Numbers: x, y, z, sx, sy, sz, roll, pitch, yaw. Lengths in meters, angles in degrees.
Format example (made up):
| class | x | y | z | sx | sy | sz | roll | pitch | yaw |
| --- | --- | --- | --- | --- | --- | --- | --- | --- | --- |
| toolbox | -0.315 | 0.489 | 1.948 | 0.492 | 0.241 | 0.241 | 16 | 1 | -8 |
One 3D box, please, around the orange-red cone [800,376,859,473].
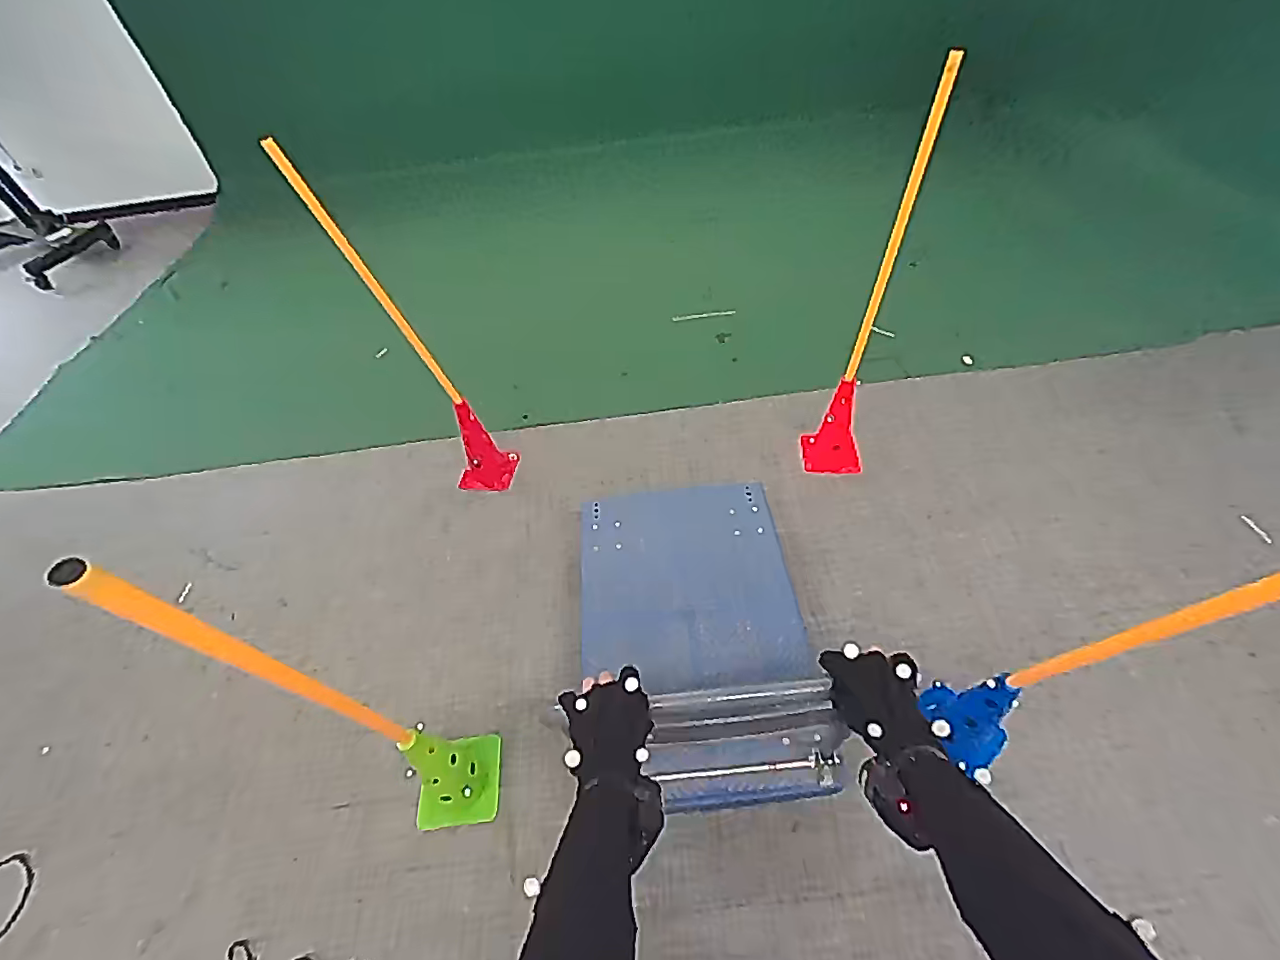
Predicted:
| class | x | y | z | sx | sy | sz | roll | pitch | yaw |
| --- | --- | --- | --- | --- | --- | --- | --- | --- | --- |
| orange-red cone | 0.684 | -0.209 | 1.877 | 0.198 | 0.360 | 0.199 | 1 | 50 | 8 |
